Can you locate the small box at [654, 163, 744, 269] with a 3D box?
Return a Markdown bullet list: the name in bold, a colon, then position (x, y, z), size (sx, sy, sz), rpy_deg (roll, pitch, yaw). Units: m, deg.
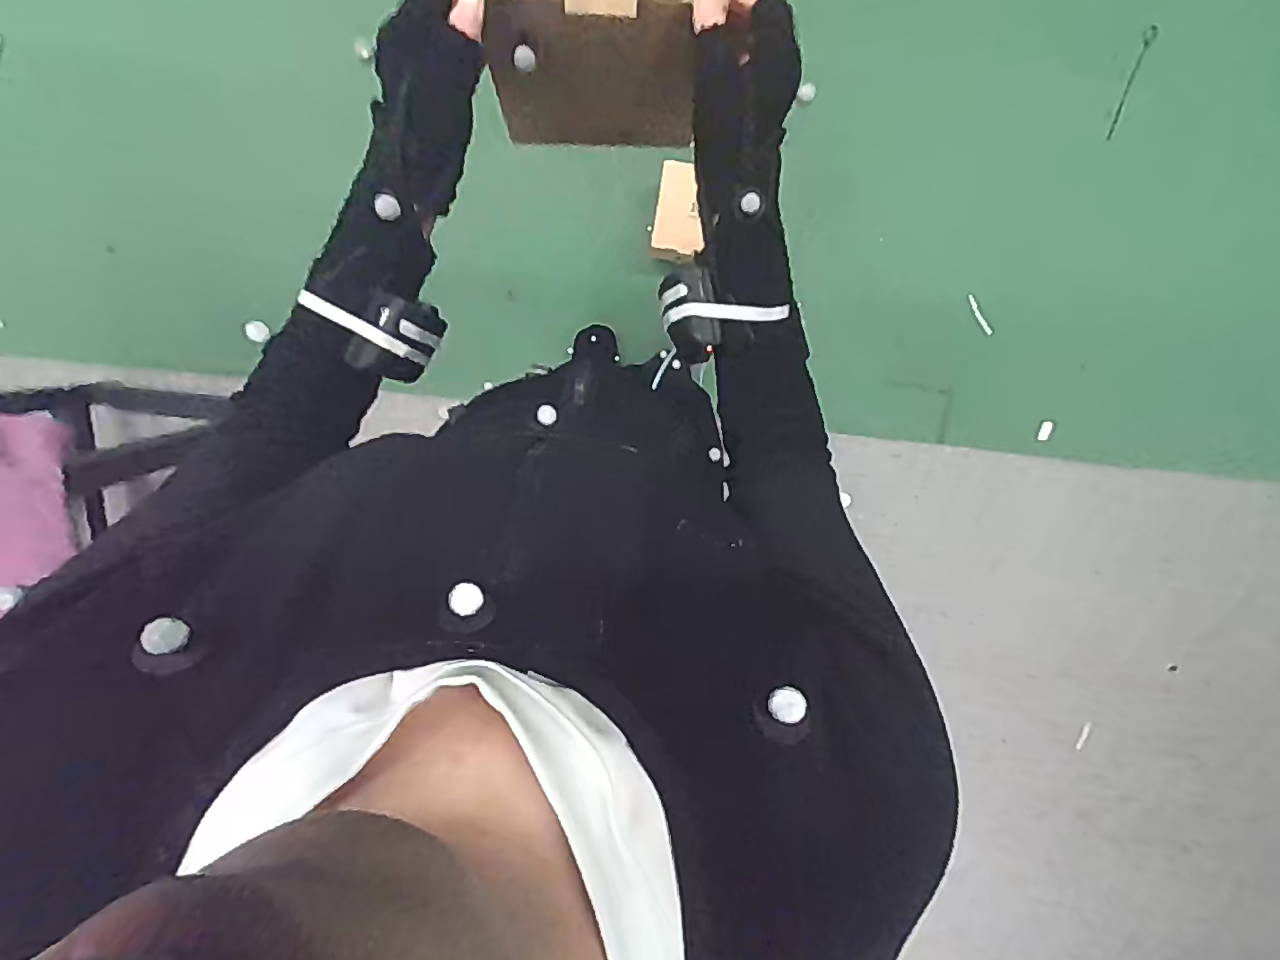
- **small box**: position (0.126, -0.596, 1.241), size (0.168, 0.176, 0.179), rpy_deg (9, 106, -2)
